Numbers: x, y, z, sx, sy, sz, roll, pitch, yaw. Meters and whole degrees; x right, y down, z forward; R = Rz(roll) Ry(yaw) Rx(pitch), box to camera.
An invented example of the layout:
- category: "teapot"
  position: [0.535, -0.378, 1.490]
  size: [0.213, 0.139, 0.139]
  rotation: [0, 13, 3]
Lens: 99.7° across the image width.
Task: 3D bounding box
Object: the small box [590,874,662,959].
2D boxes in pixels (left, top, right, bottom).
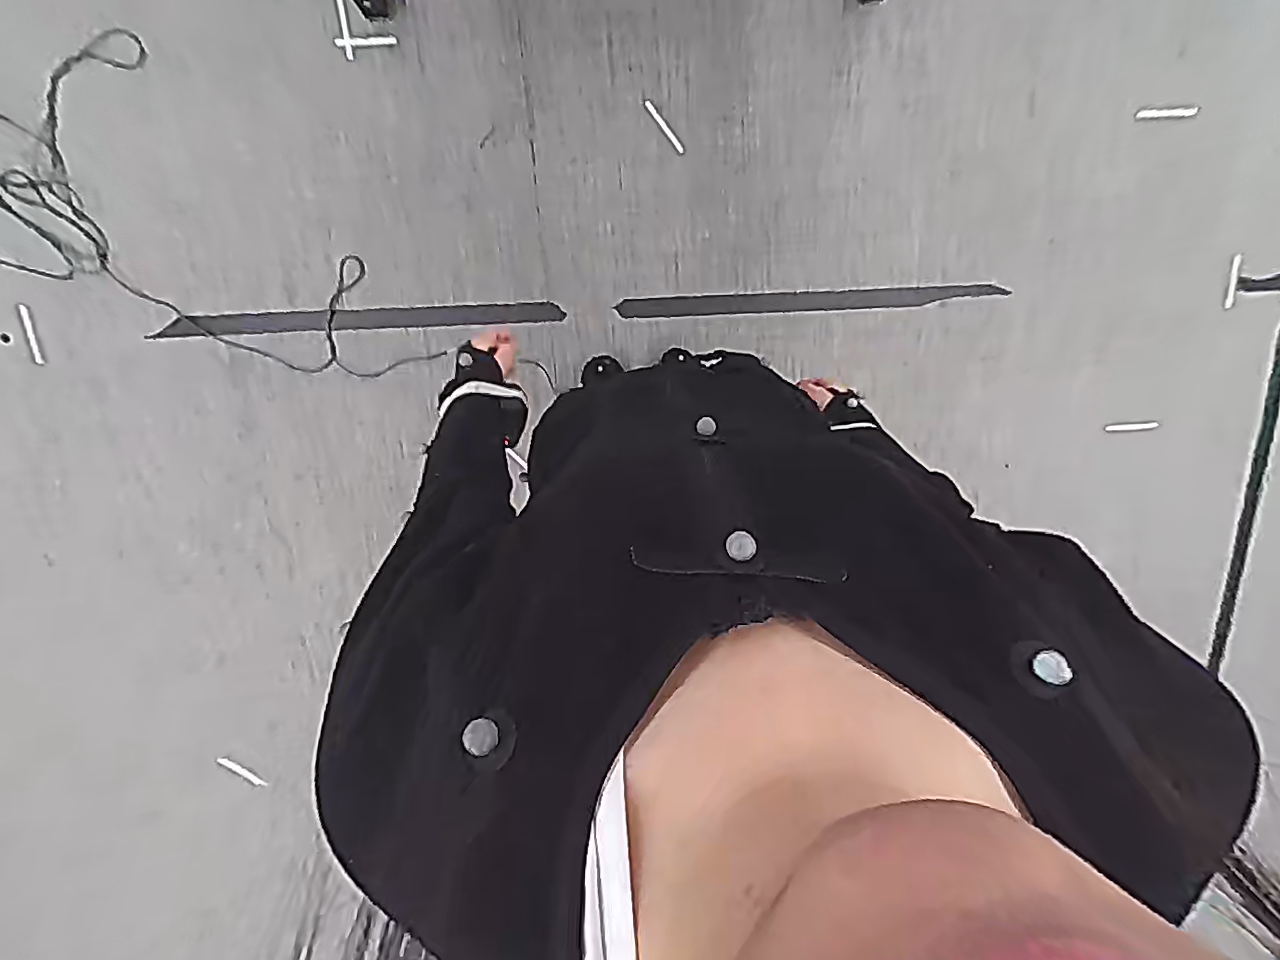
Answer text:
- category: "small box"
  position: [-0.037, 1.167, 1.404]
  size: [0.179, 0.176, 0.168]
  rotation: [-4, 102, -2]
